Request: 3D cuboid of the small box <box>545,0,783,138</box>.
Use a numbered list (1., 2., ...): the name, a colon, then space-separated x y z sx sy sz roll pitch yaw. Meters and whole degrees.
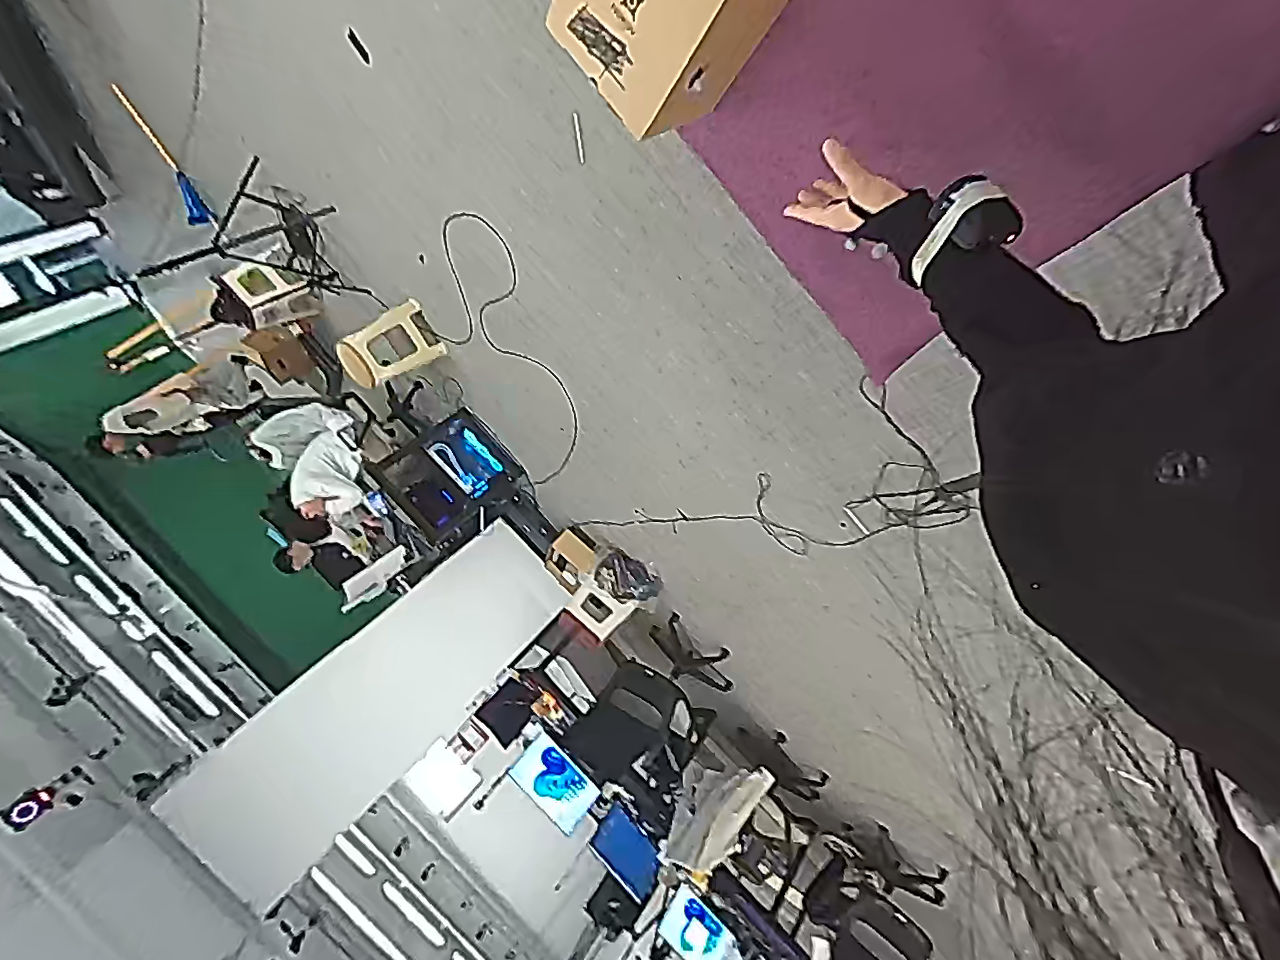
1. small box: 0.033 -0.524 0.586 0.168 0.176 0.179 48 146 -7
